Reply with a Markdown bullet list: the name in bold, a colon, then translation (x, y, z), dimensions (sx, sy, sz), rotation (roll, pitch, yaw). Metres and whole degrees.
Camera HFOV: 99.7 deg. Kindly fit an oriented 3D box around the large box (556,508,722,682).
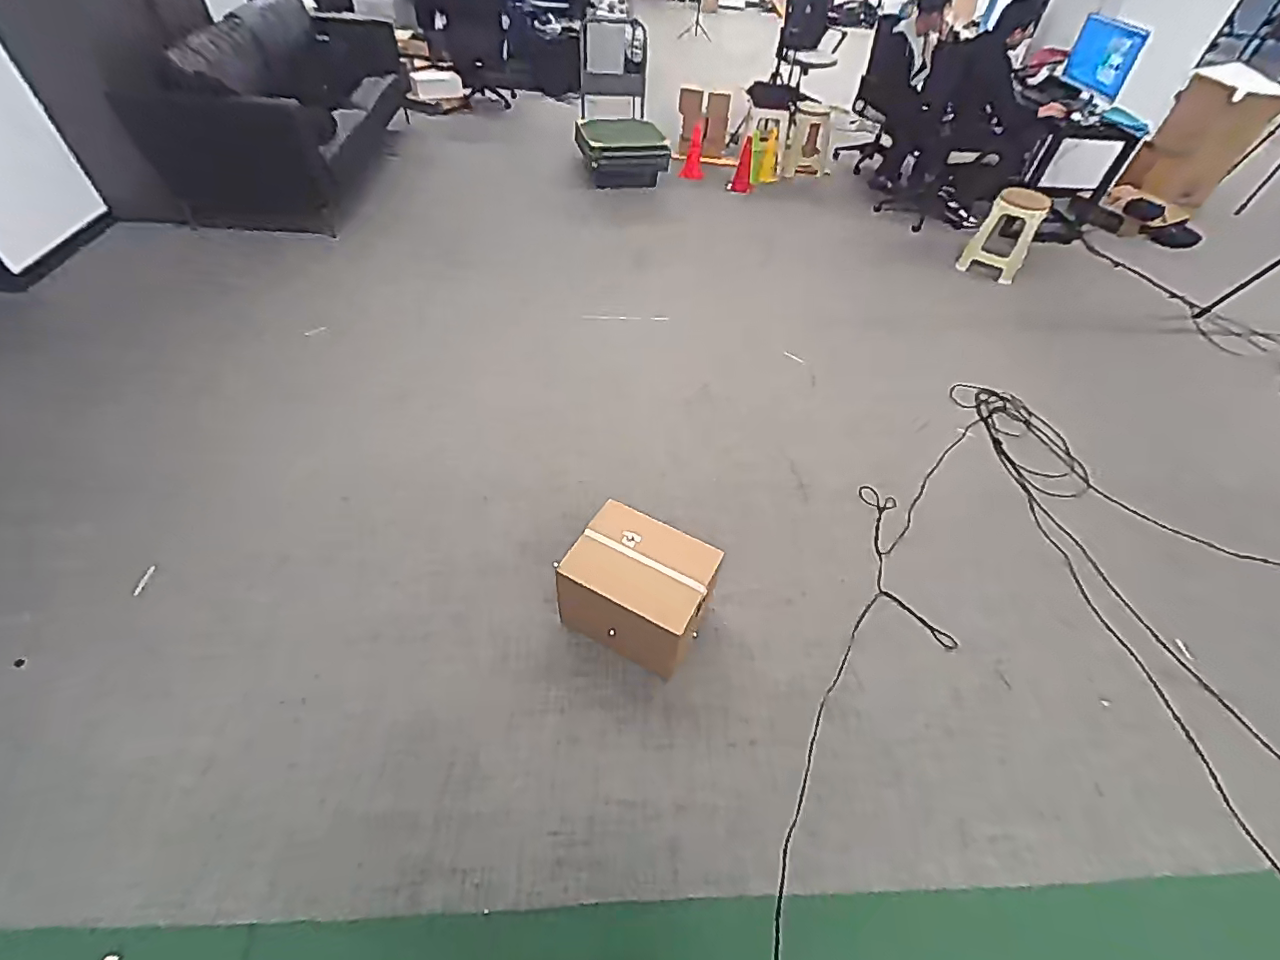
- **large box**: translation (-0.001, 0.357, 1.686), dimensions (0.408, 0.320, 0.320), rotation (23, 50, 17)
